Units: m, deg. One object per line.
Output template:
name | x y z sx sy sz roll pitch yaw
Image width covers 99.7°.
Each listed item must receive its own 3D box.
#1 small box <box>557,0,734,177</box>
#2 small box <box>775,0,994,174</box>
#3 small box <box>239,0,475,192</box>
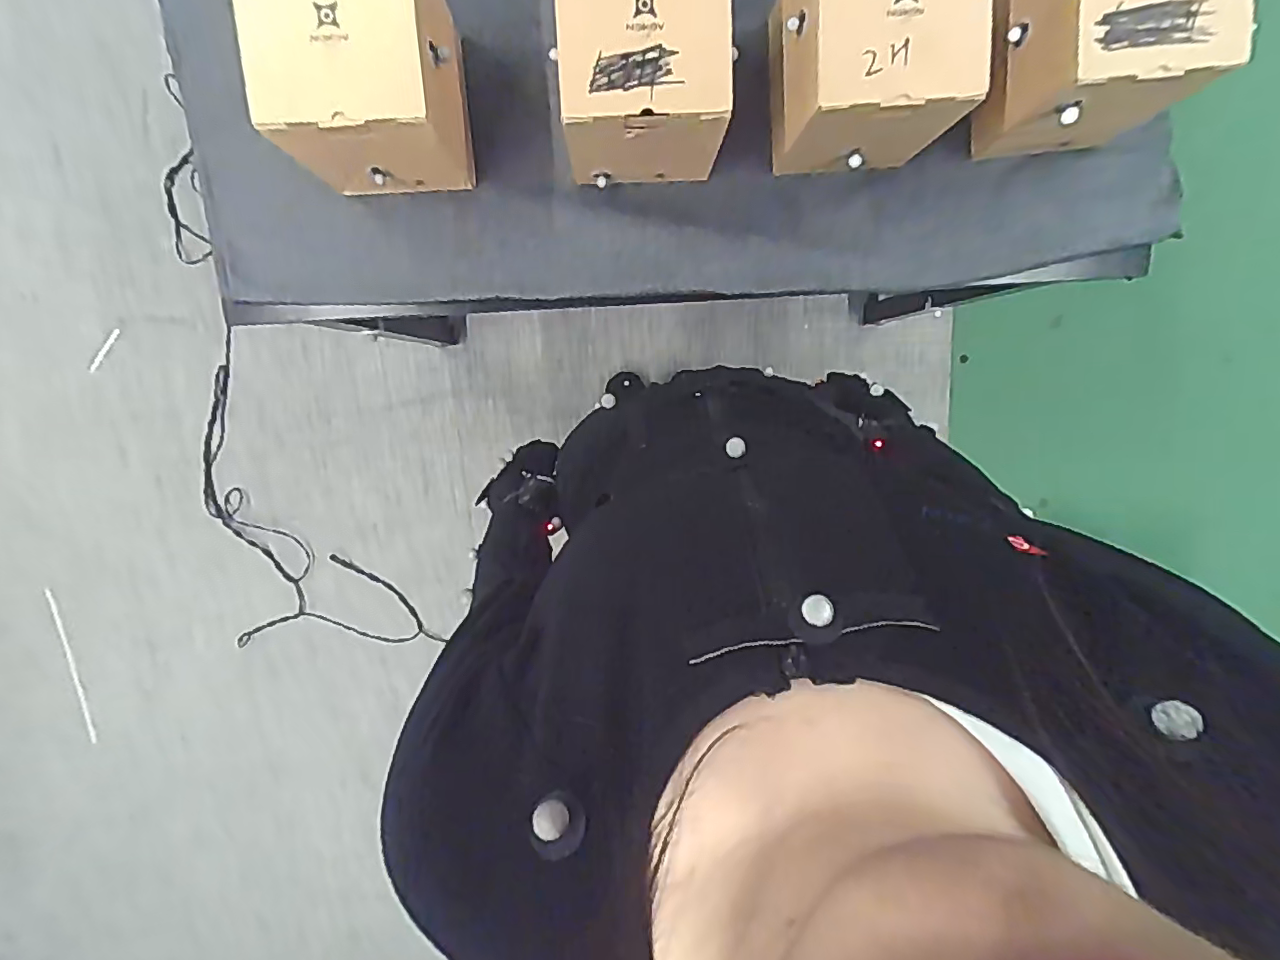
small box | 0.004 -0.443 0.579 0.168 0.176 0.179 -2 99 -1
small box | 0.246 -0.459 0.582 0.168 0.176 0.179 -4 100 1
small box | -0.284 -0.432 0.573 0.168 0.176 0.179 -4 99 -2
